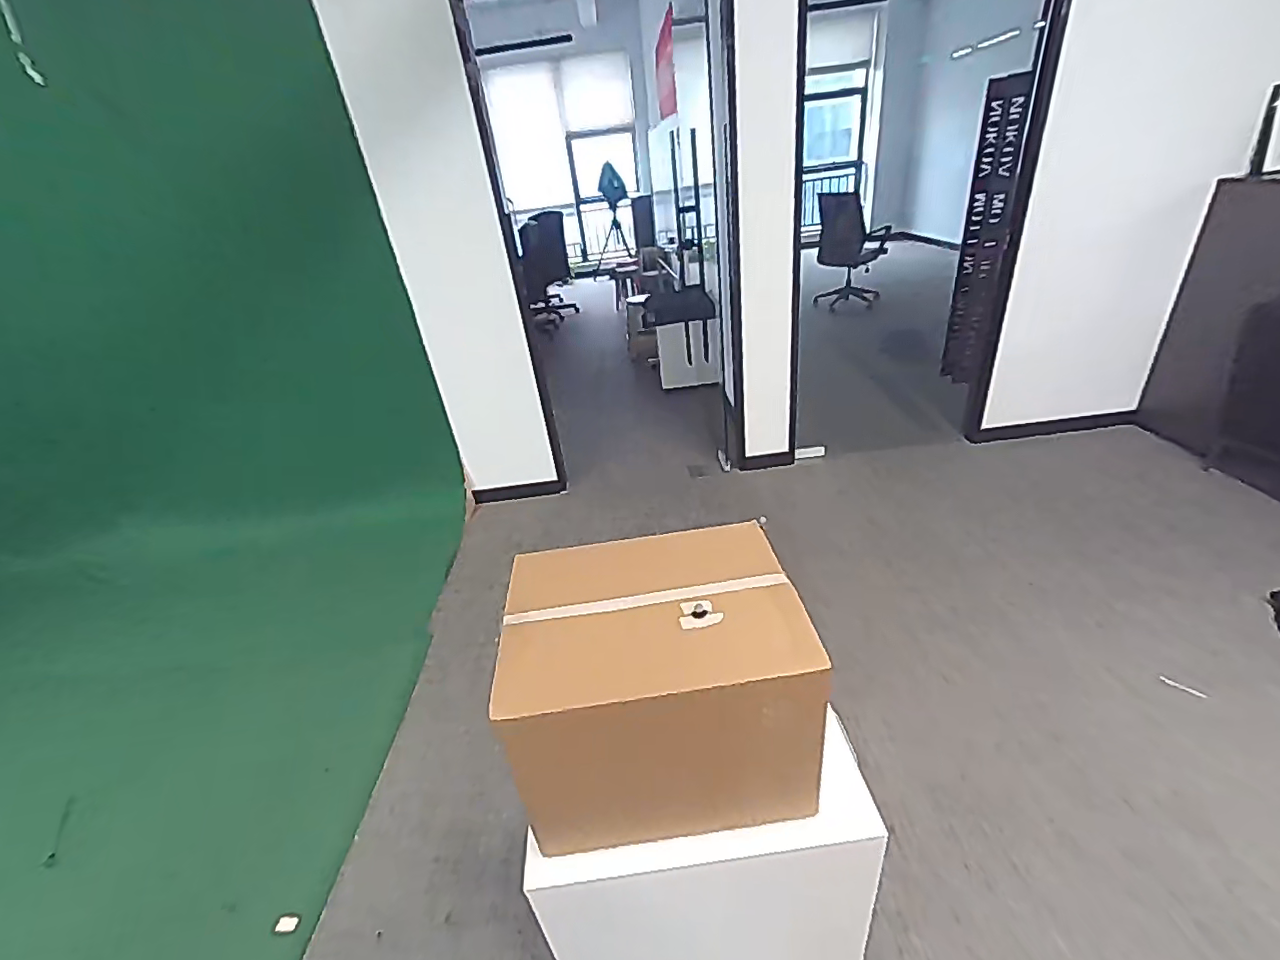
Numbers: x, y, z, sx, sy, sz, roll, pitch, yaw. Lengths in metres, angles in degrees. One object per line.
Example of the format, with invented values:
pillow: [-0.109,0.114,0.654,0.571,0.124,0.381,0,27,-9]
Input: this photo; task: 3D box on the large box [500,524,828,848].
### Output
large box: [0.027,0.301,0.836,0.408,0.320,0.320,-7,30,-2]
